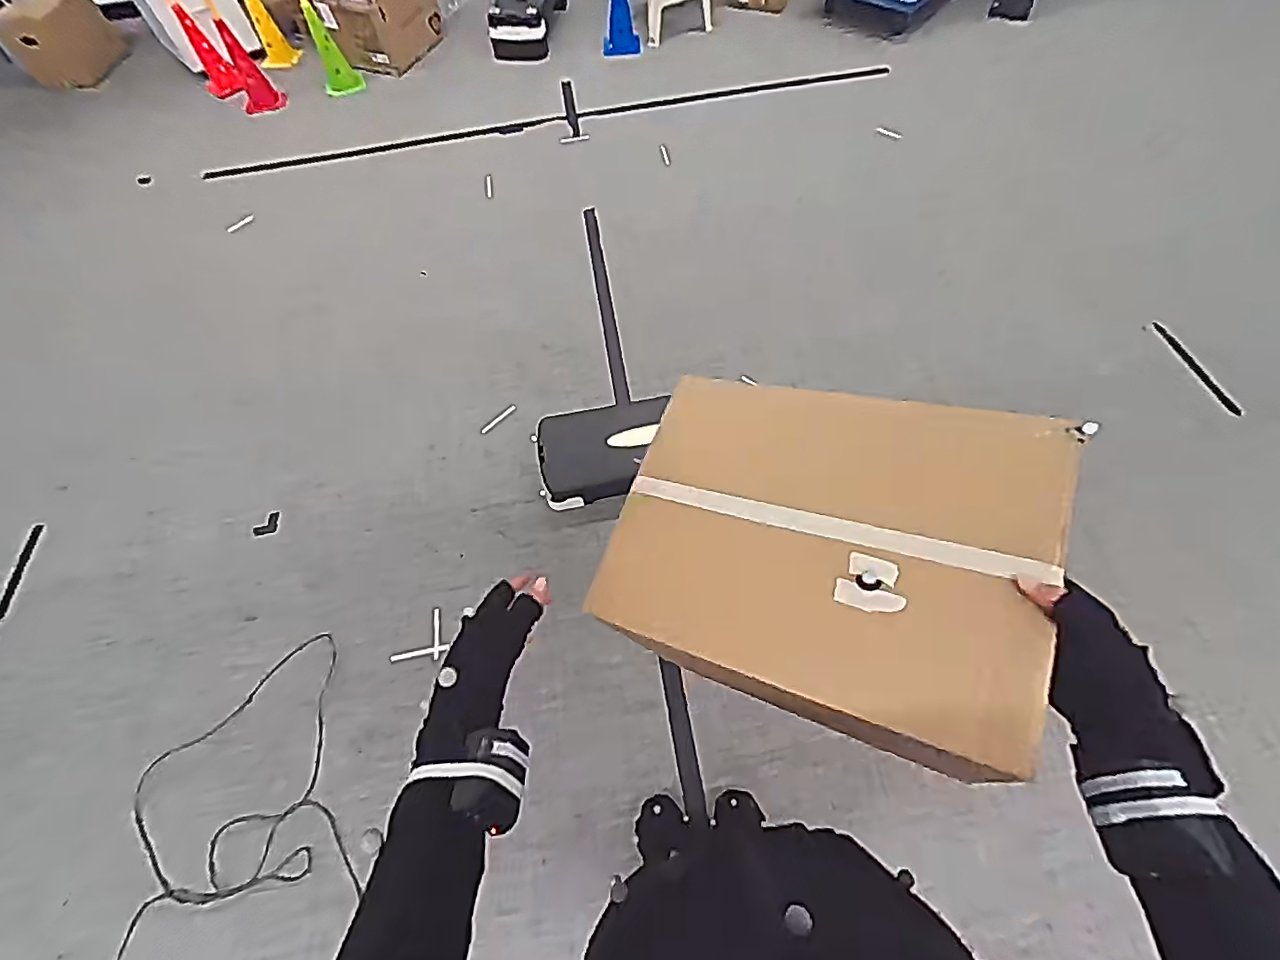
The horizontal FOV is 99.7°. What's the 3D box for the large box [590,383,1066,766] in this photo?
[{"bbox_3d":[0.217,0.111,0.663,0.408,0.320,0.320,12,69,27],"label":"large box"}]
